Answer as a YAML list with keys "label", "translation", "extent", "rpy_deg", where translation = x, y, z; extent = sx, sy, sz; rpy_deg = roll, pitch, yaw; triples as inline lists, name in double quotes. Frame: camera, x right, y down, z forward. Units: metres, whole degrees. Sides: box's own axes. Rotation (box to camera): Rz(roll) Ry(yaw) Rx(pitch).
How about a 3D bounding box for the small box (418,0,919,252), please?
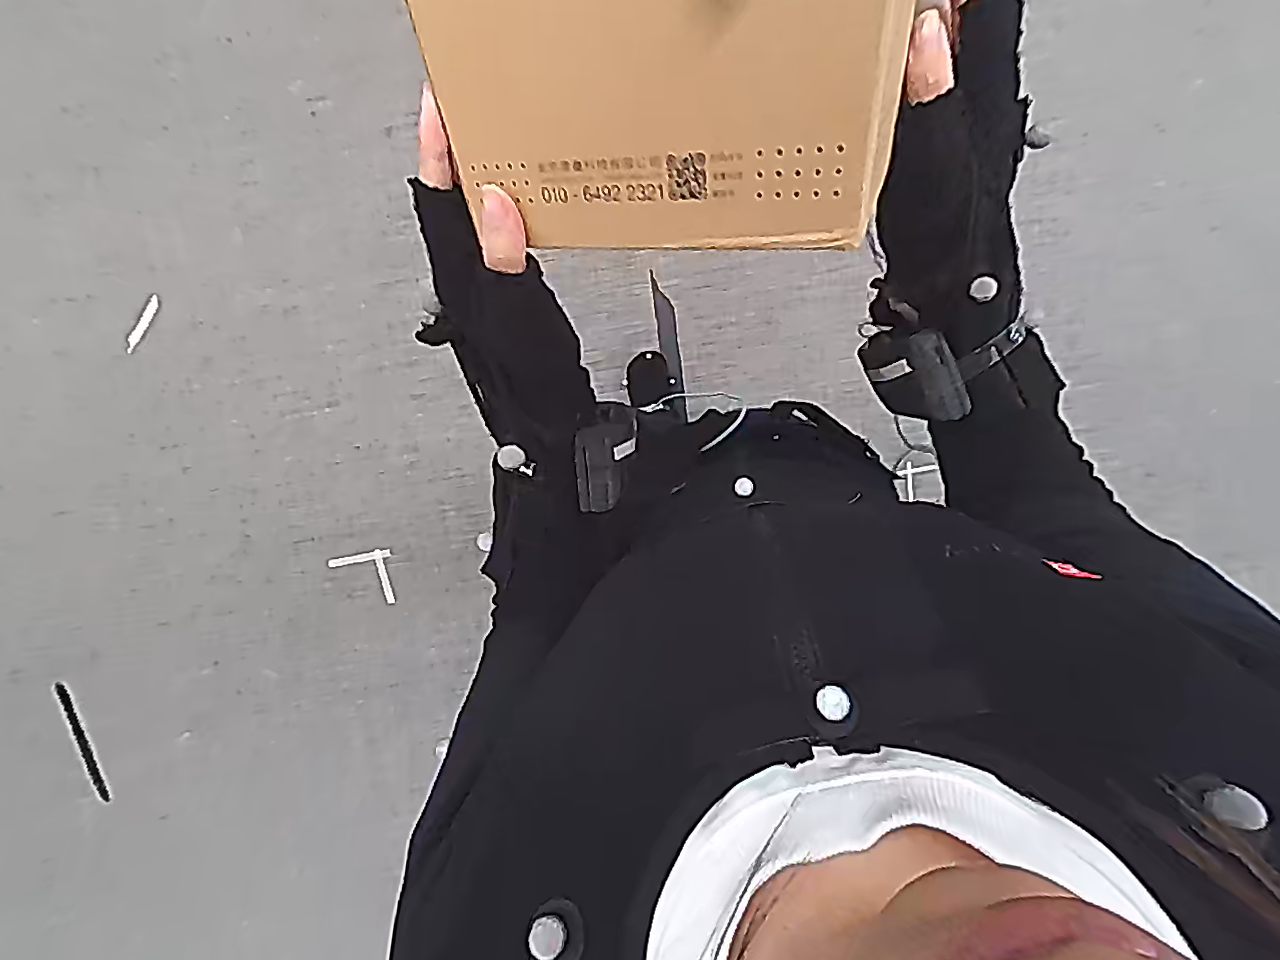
- label: "small box"
  translation: [0.024, -0.208, 0.227]
  extent: [0.168, 0.179, 0.176]
  rpy_deg: [12, 134, 23]
